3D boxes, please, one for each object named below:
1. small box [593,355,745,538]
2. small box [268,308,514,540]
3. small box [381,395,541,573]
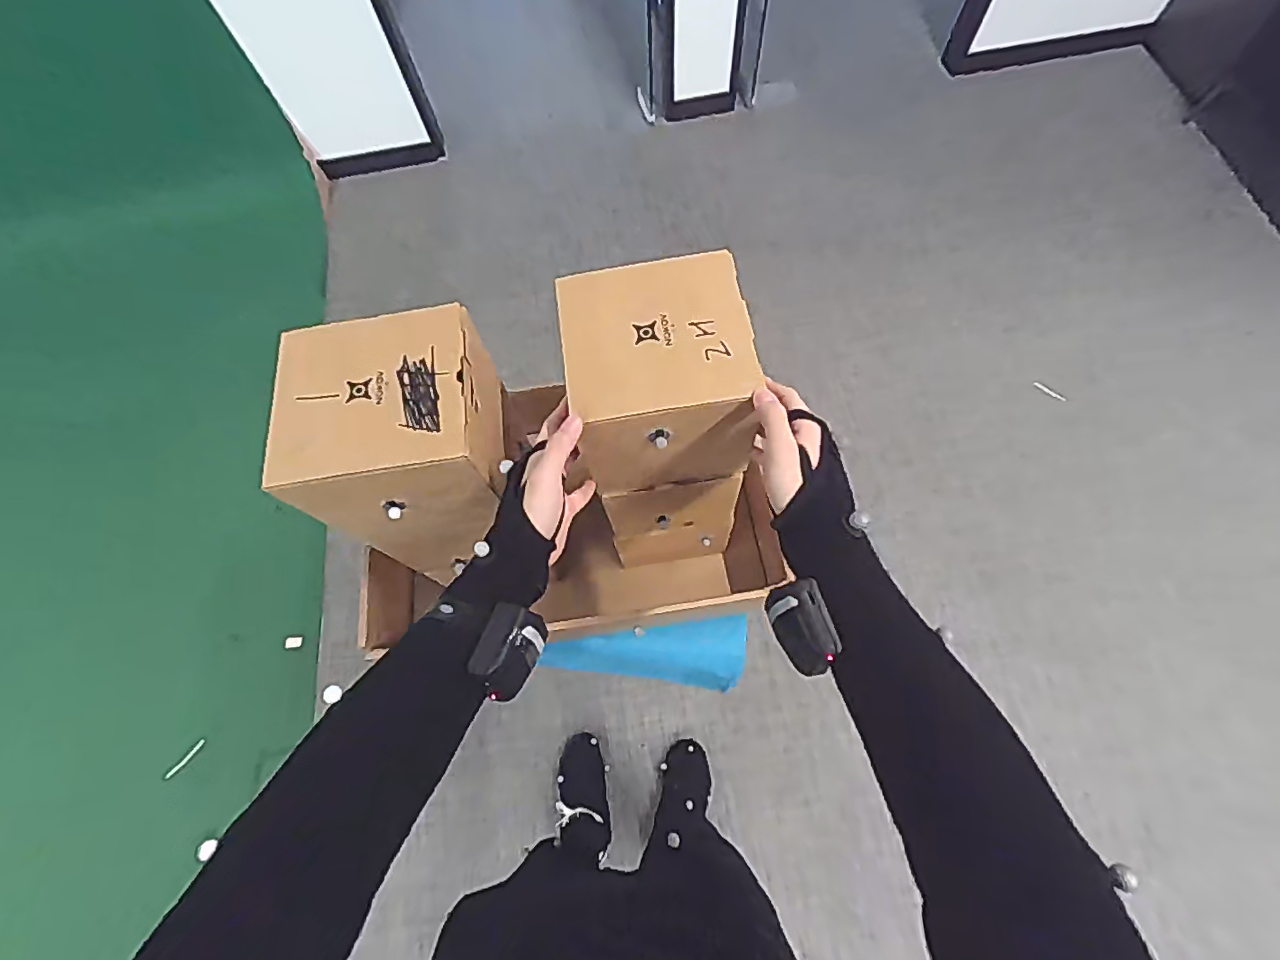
[{"bbox_3d":[0.033,-0.039,0.721,0.168,0.176,0.179,-8,67,0],"label":"small box"},{"bbox_3d":[-0.234,-0.048,0.560,0.179,0.176,0.168,-9,66,0],"label":"small box"},{"bbox_3d":[-0.231,0.011,0.714,0.168,0.176,0.179,-8,67,-1],"label":"small box"}]
